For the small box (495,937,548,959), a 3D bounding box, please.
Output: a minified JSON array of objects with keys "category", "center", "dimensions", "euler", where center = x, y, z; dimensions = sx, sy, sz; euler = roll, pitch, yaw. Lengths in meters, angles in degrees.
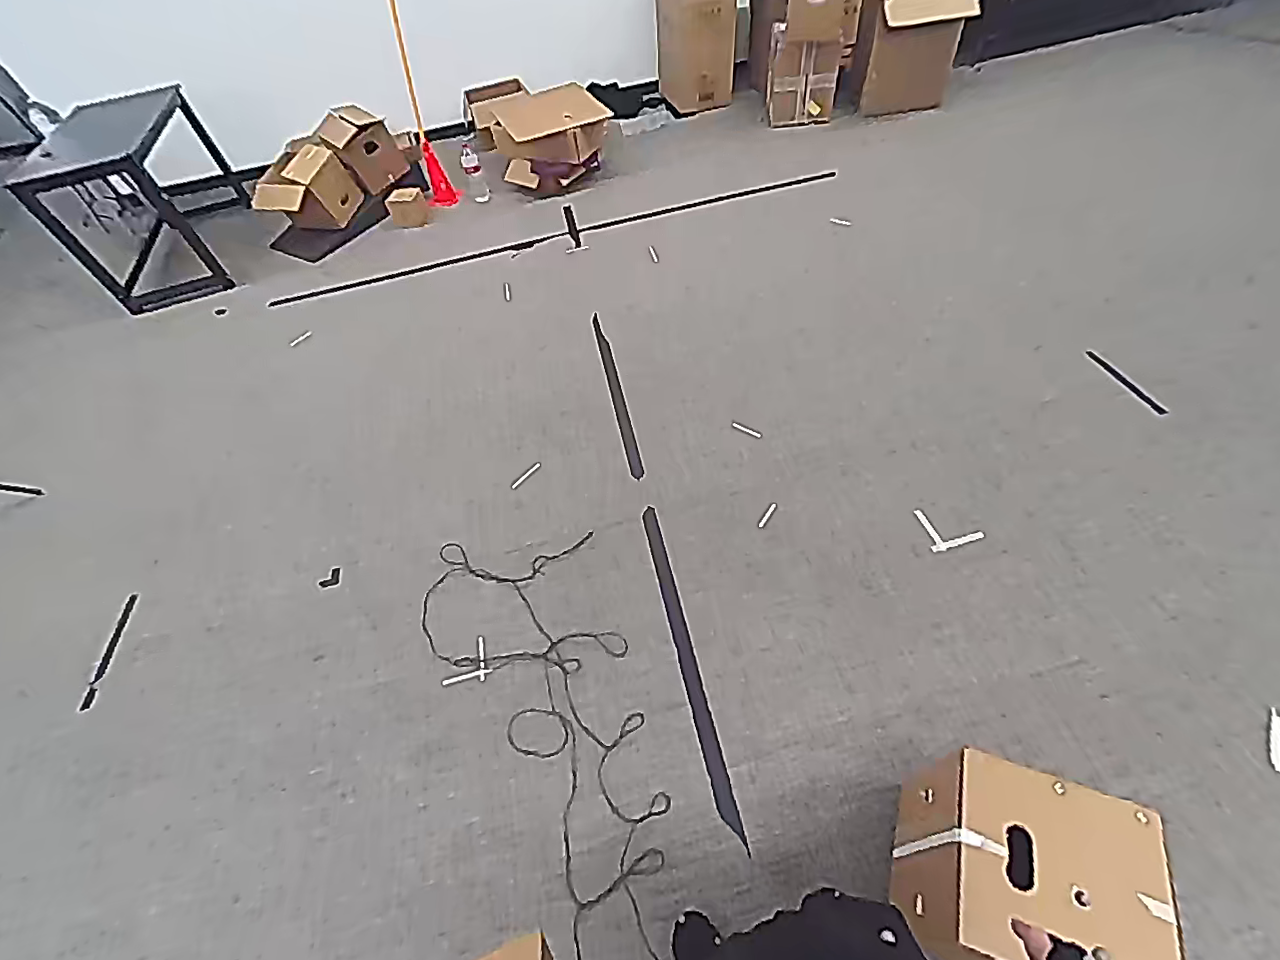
[{"category":"small box","center":[-0.166,0.733,0.652],"dimensions":[0.168,0.179,0.176],"euler":[-20,93,-10]}]
